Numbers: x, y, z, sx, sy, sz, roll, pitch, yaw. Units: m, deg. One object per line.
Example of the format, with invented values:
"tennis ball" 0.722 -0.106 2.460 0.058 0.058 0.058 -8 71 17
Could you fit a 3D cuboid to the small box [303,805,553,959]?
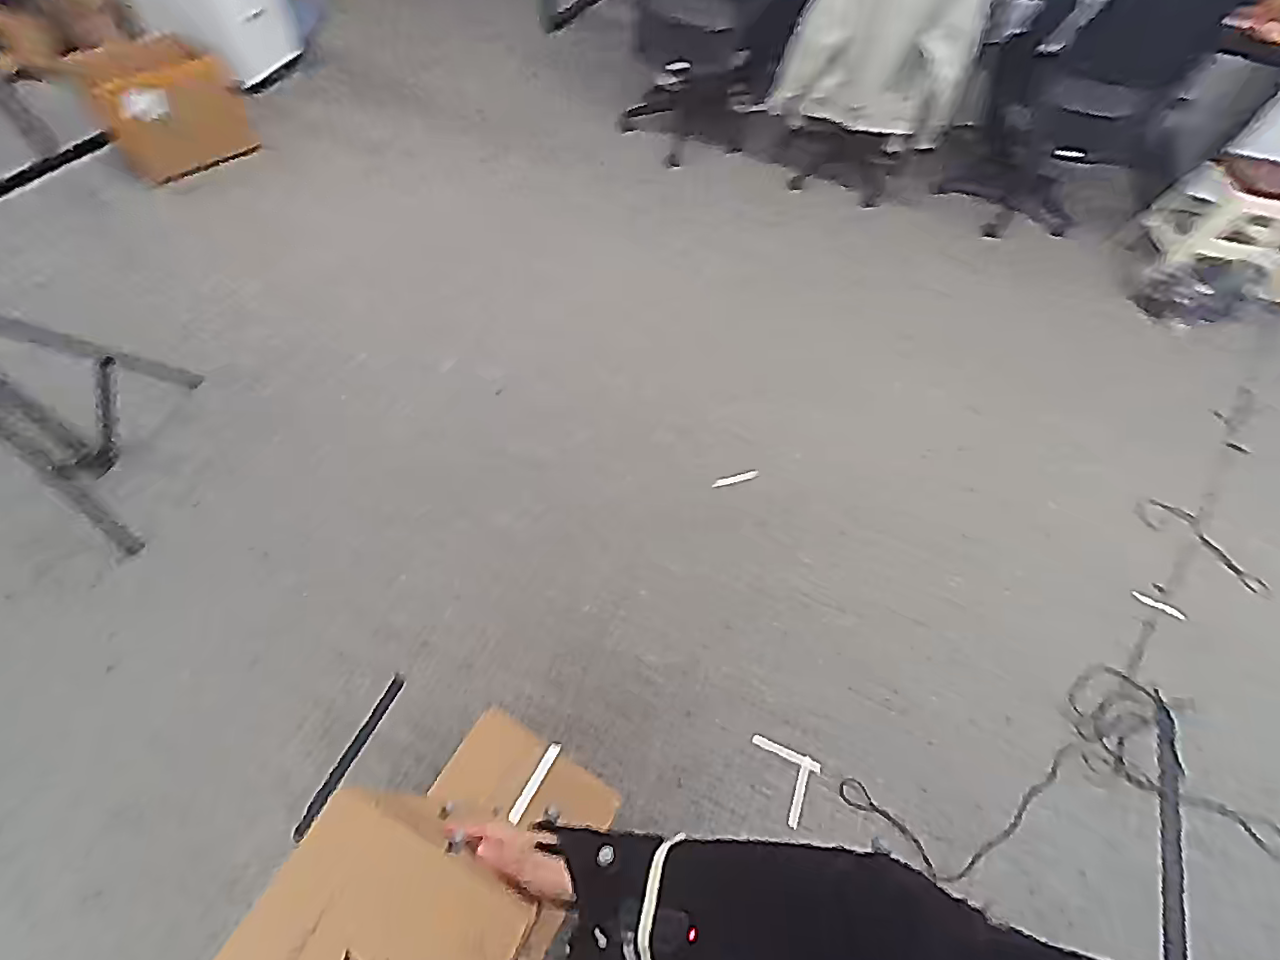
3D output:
"small box" -0.202 0.459 0.555 0.179 0.176 0.168 26 59 10
